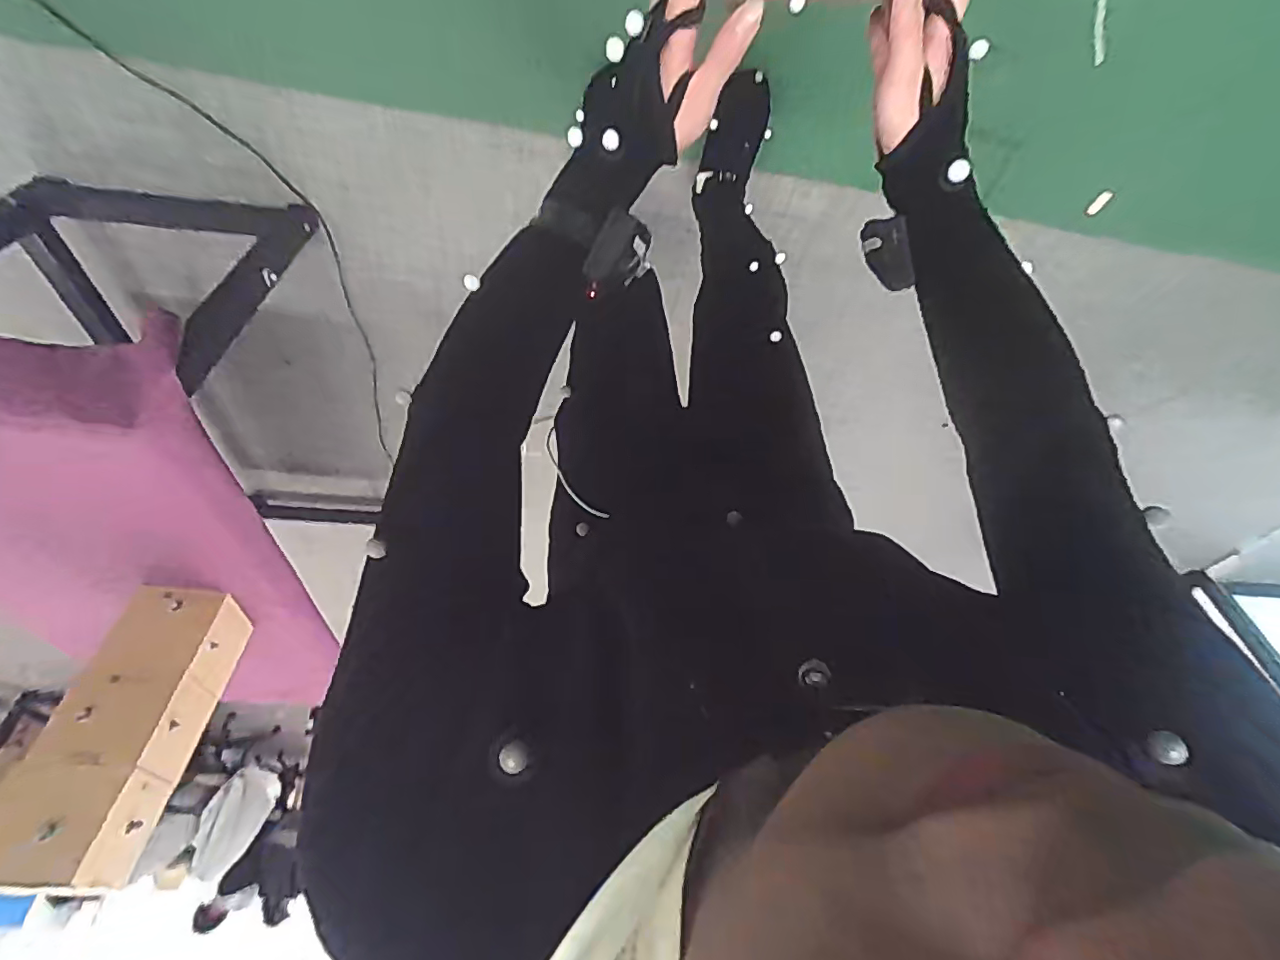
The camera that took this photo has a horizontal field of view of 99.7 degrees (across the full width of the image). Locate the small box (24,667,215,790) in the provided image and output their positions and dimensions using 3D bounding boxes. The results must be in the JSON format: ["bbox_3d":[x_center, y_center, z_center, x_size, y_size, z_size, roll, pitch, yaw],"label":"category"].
[{"bbox_3d":[-0.948,0.463,1.008,0.168,0.176,0.179,9,138,-10],"label":"small box"}]

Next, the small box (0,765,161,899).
[{"bbox_3d":[-0.953,0.584,0.899,0.179,0.176,0.168,8,137,-10],"label":"small box"}]

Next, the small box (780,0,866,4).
[{"bbox_3d":[0.122,-0.443,0.371,0.179,0.176,0.168,-5,130,-8],"label":"small box"}]
